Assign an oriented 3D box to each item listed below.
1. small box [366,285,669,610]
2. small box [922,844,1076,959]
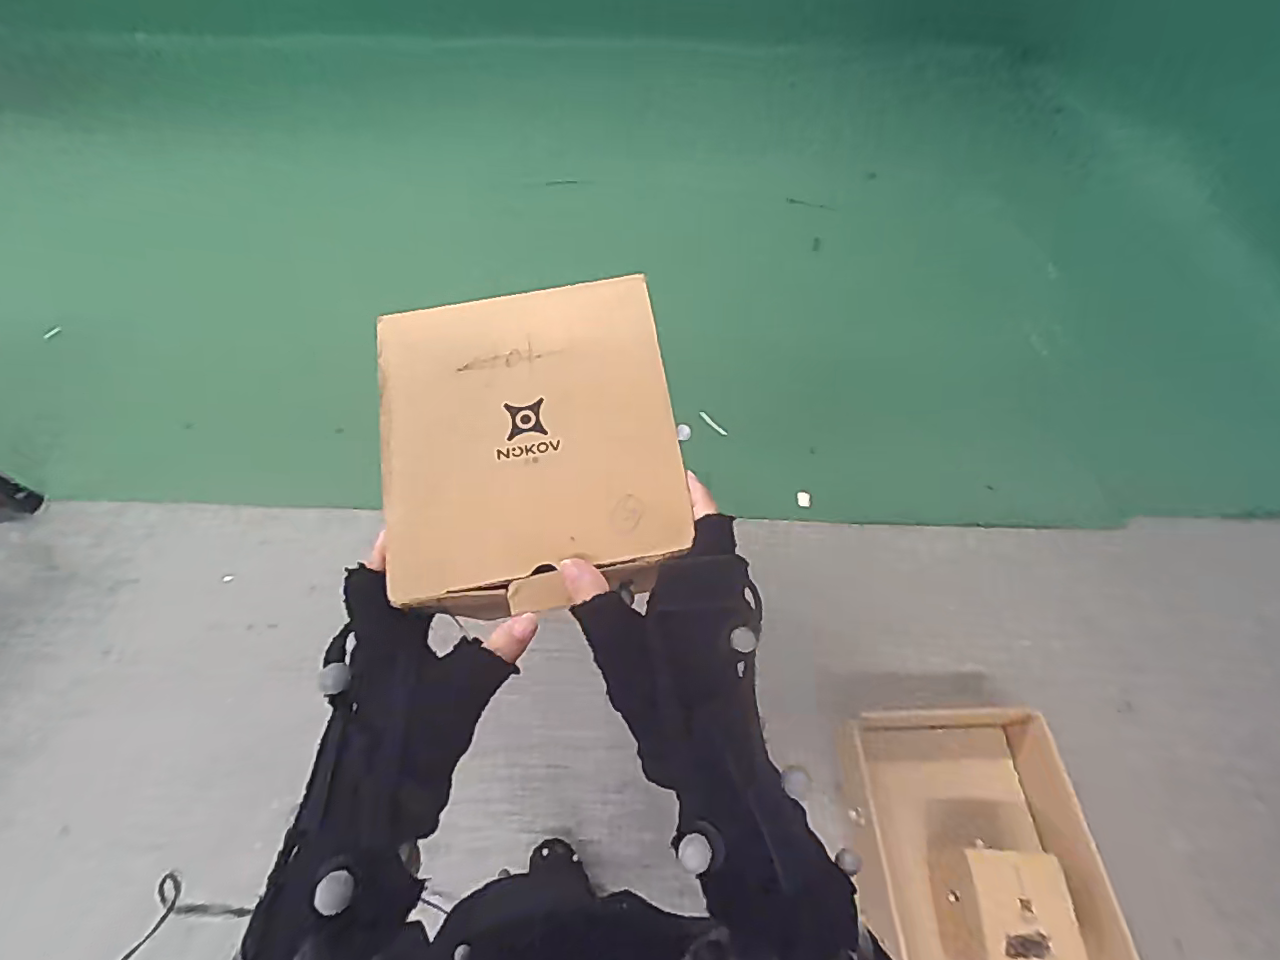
[{"bbox_3d":[-0.074,-0.006,0.392,0.168,0.176,0.179,-11,73,-2],"label":"small box"},{"bbox_3d":[0.657,0.797,1.011,0.168,0.176,0.179,5,56,2],"label":"small box"}]
